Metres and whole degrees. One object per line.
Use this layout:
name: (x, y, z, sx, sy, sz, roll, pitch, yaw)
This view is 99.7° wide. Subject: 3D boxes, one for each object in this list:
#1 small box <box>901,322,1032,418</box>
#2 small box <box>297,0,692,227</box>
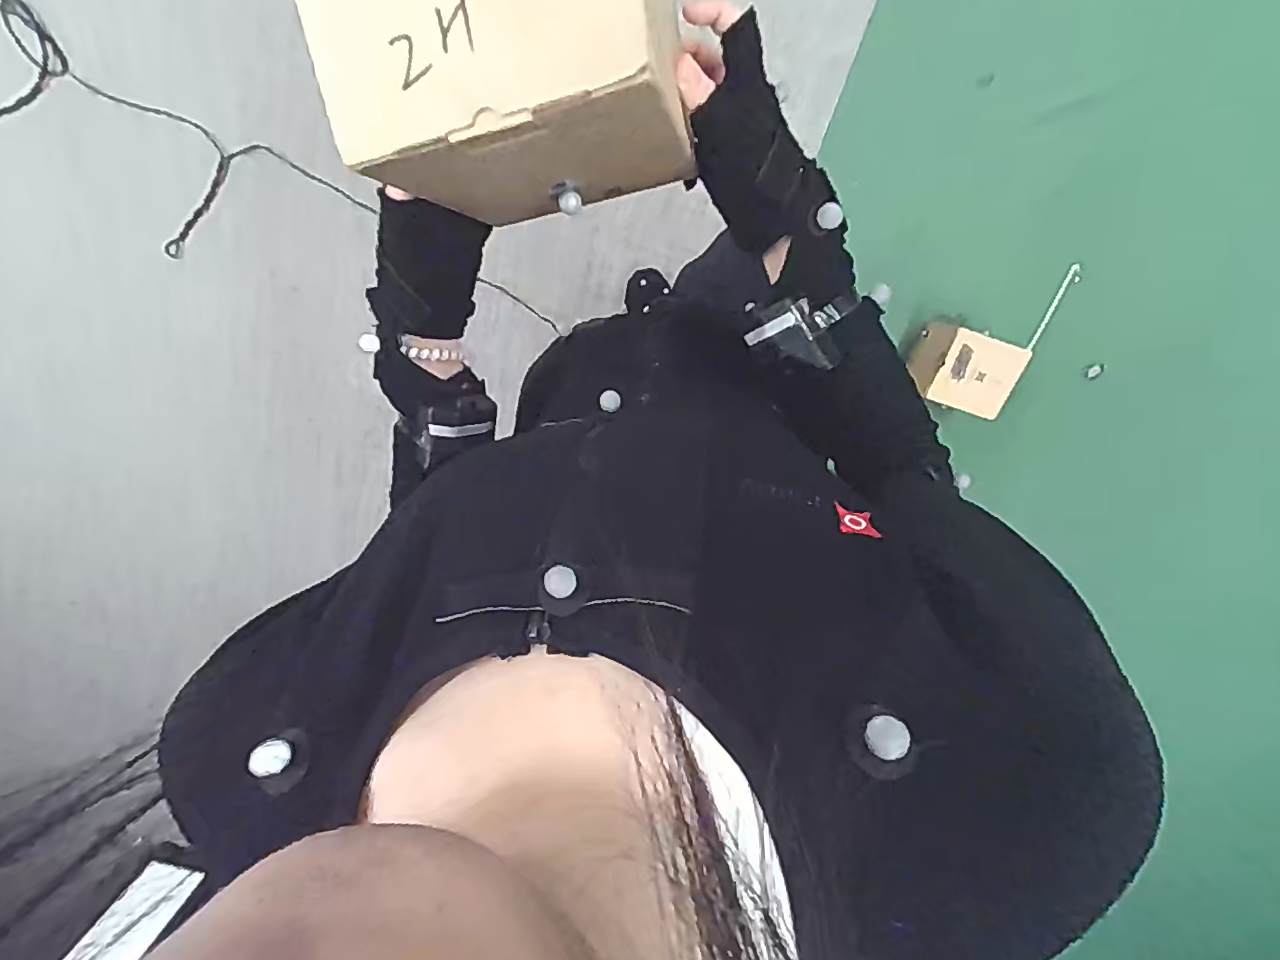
small box: (0.758, -0.267, 1.281, 0.179, 0.176, 0.168, 18, 112, -3)
small box: (-0.070, -0.269, 0.314, 0.168, 0.176, 0.179, -7, 104, 16)
